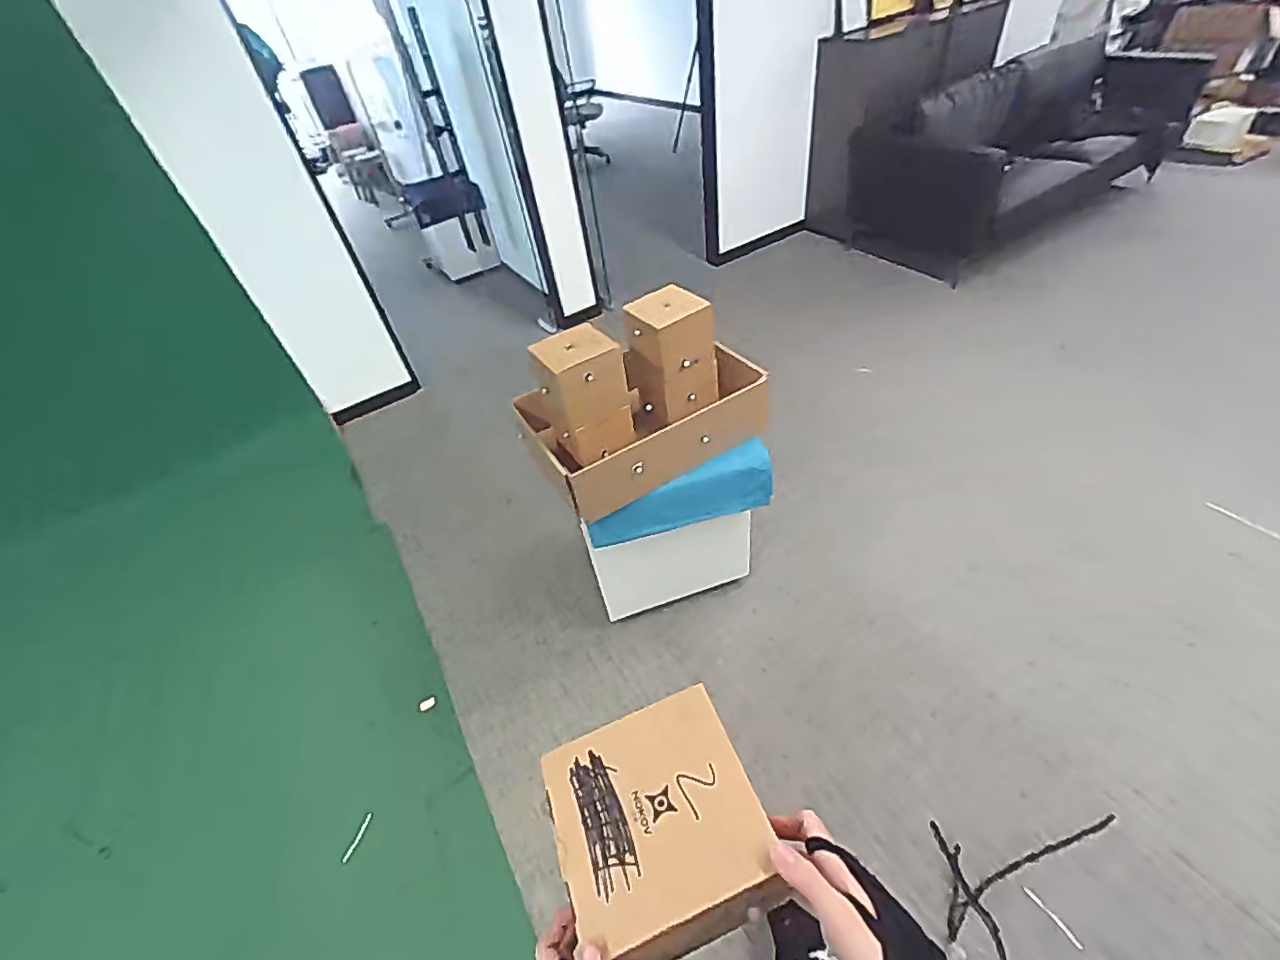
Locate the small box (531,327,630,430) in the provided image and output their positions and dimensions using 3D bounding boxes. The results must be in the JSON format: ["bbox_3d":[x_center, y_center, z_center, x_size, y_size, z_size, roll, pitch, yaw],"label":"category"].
[{"bbox_3d":[-0.143,-0.251,1.347,0.179,0.176,0.168,-28,46,-19],"label":"small box"}]

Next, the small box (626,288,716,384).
[{"bbox_3d":[0.084,-0.380,1.437,0.168,0.176,0.179,-30,46,-17],"label":"small box"}]
